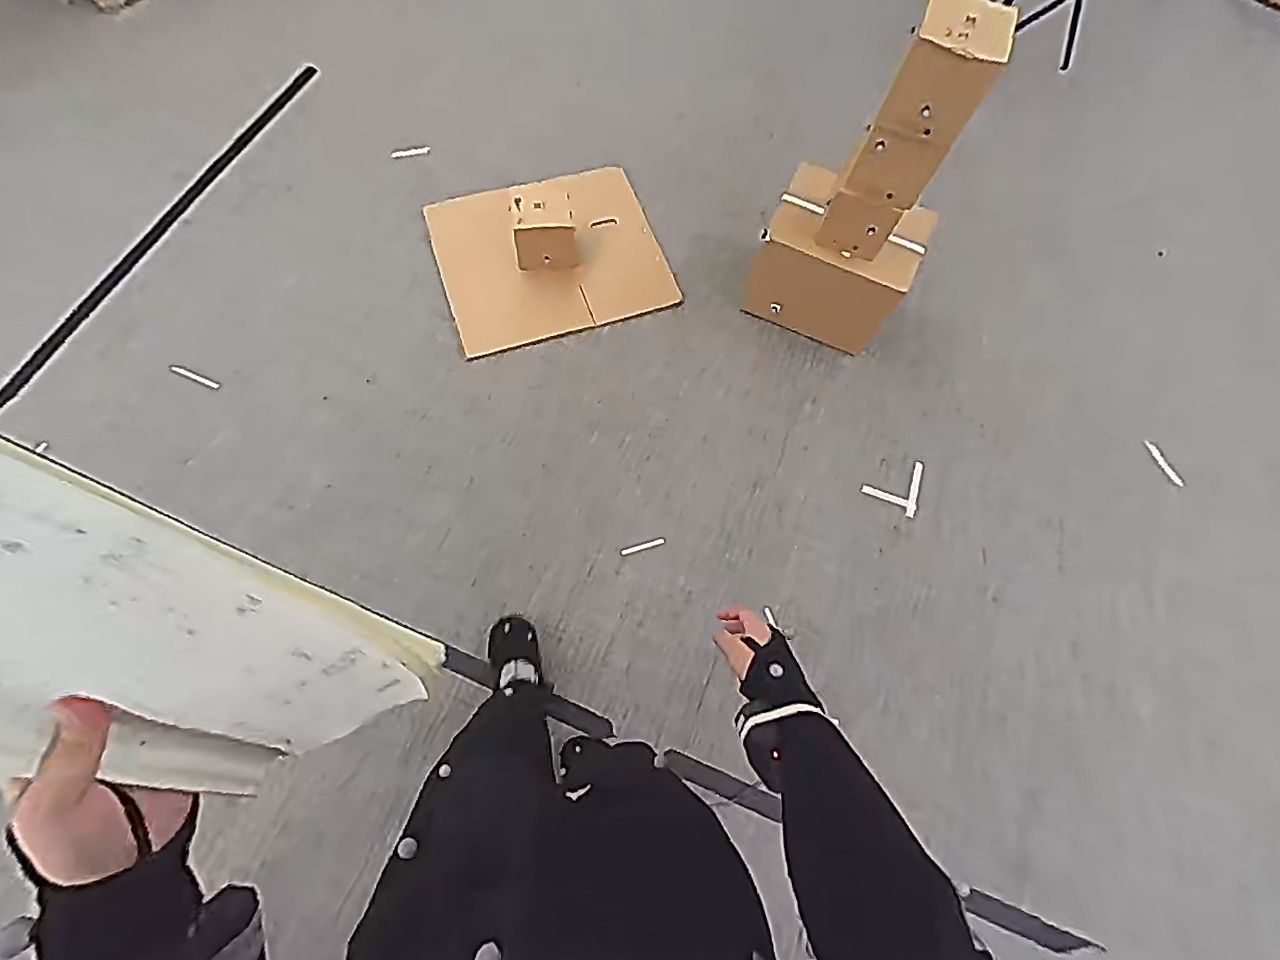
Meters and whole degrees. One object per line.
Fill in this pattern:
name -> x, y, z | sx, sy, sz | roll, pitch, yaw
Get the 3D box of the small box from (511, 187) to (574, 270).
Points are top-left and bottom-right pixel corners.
small box -> -0.298, -0.767, 1.660 | 0.179, 0.176, 0.168 | -6, 70, -9

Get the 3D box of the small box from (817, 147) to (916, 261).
small box -> 0.569, -0.695, 1.377 | 0.168, 0.176, 0.179 | 19, 69, 2

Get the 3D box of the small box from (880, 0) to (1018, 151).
small box -> 0.601, -0.802, 1.068 | 0.168, 0.176, 0.179 | 21, 70, 4
